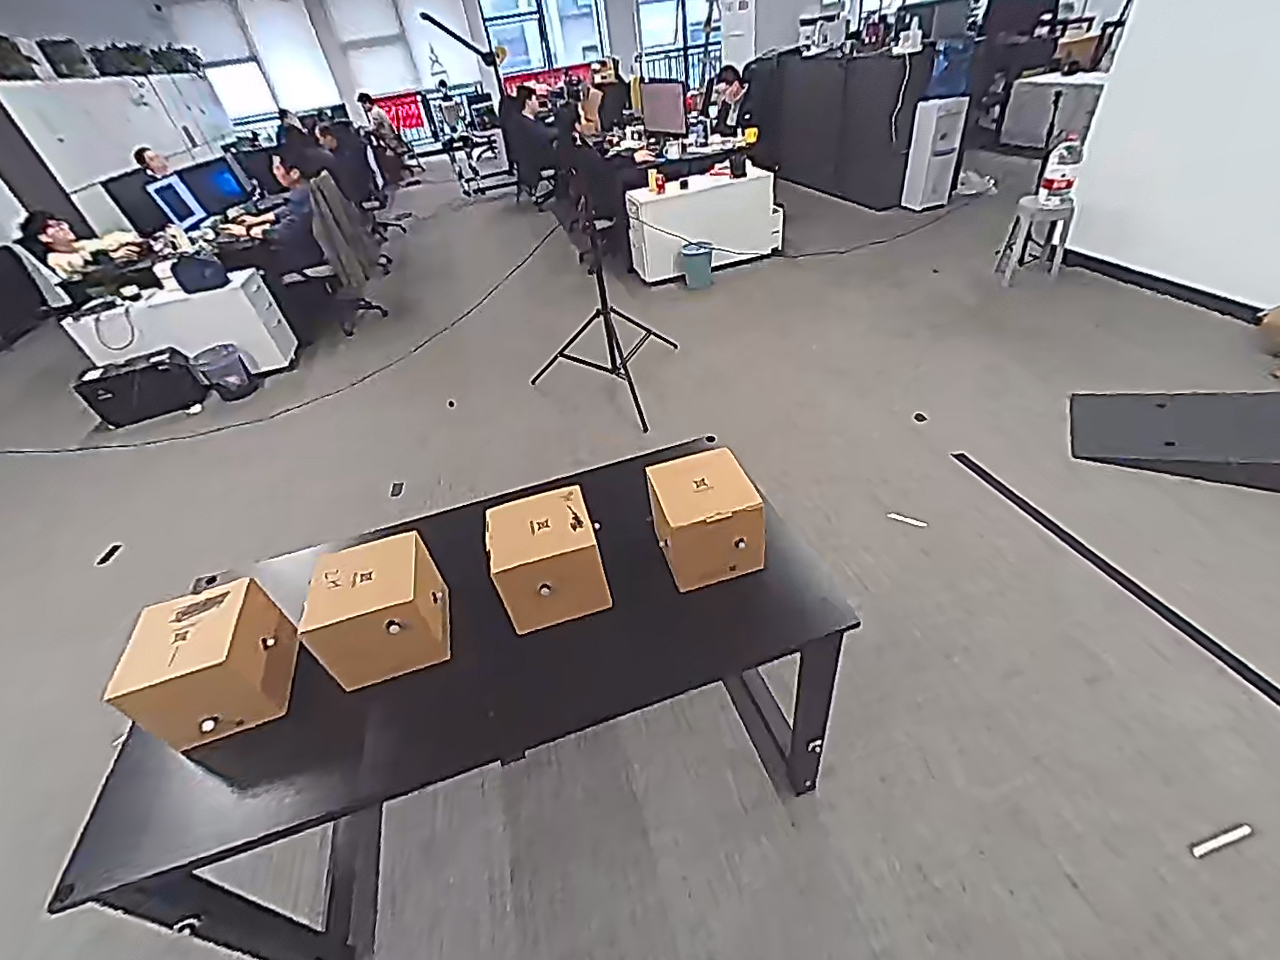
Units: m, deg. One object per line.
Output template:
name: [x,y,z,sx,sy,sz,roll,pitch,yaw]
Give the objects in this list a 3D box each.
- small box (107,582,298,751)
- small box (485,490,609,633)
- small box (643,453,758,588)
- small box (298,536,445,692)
small box: [-0.698,0.307,0.893,0.168,0.176,0.179,-18,41,-10]
small box: [-0.168,0.150,0.979,0.179,0.176,0.168,-16,40,-7]
small box: [0.113,0.080,1.008,0.168,0.176,0.179,-15,38,-7]
small box: [-0.445,0.231,0.934,0.179,0.176,0.168,-16,39,-9]
